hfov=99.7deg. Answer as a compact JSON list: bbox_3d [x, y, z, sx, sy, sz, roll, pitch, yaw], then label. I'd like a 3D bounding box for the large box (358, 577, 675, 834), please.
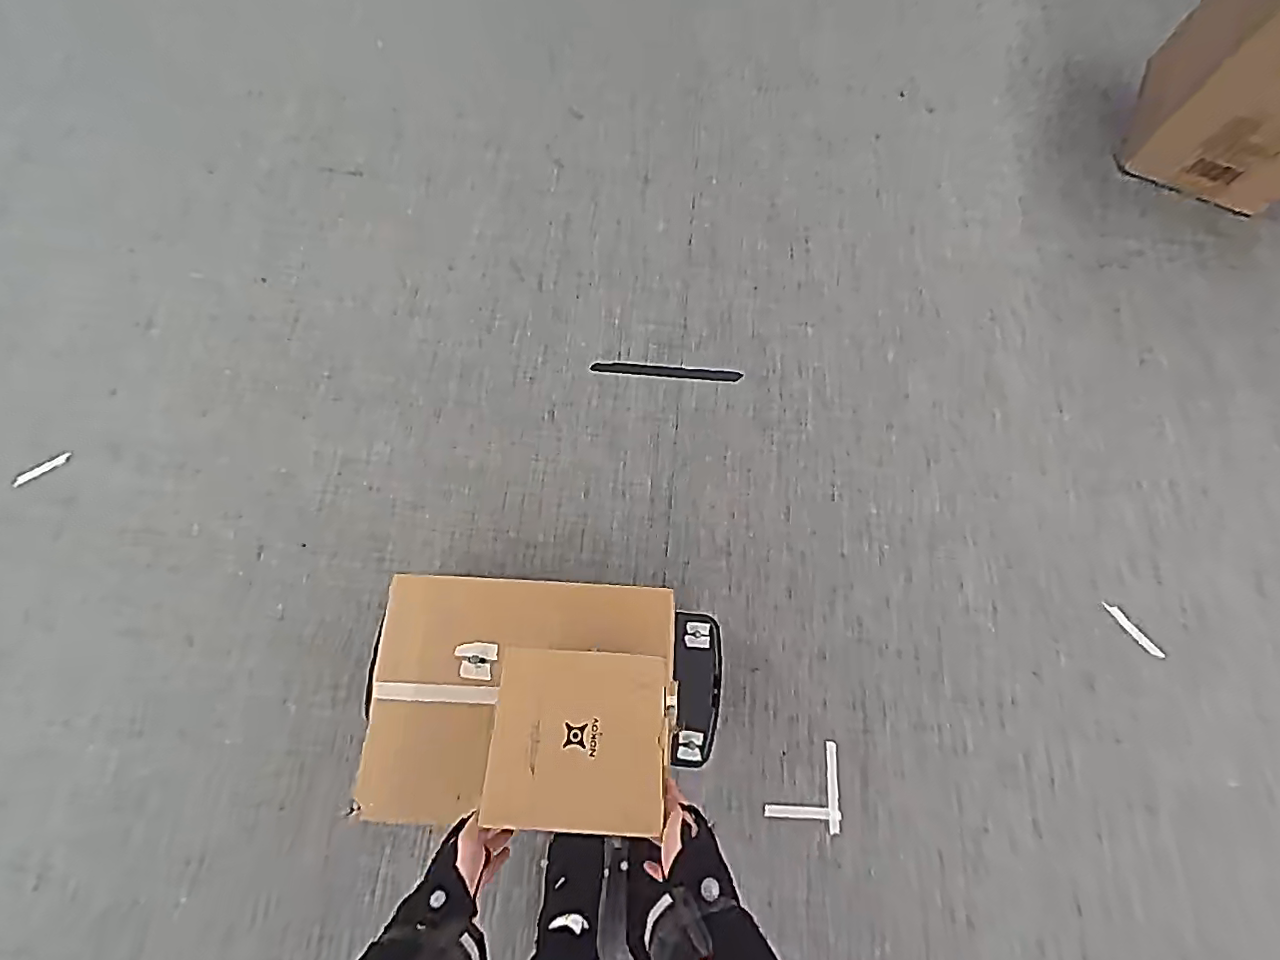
[{"bbox_3d":[-0.152,0.333,0.865,0.408,0.320,0.320,3,72,1],"label":"large box"}]

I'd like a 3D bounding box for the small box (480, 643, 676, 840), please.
[{"bbox_3d":[-0.057,0.289,0.602,0.179,0.176,0.168,4,60,1],"label":"small box"}]
